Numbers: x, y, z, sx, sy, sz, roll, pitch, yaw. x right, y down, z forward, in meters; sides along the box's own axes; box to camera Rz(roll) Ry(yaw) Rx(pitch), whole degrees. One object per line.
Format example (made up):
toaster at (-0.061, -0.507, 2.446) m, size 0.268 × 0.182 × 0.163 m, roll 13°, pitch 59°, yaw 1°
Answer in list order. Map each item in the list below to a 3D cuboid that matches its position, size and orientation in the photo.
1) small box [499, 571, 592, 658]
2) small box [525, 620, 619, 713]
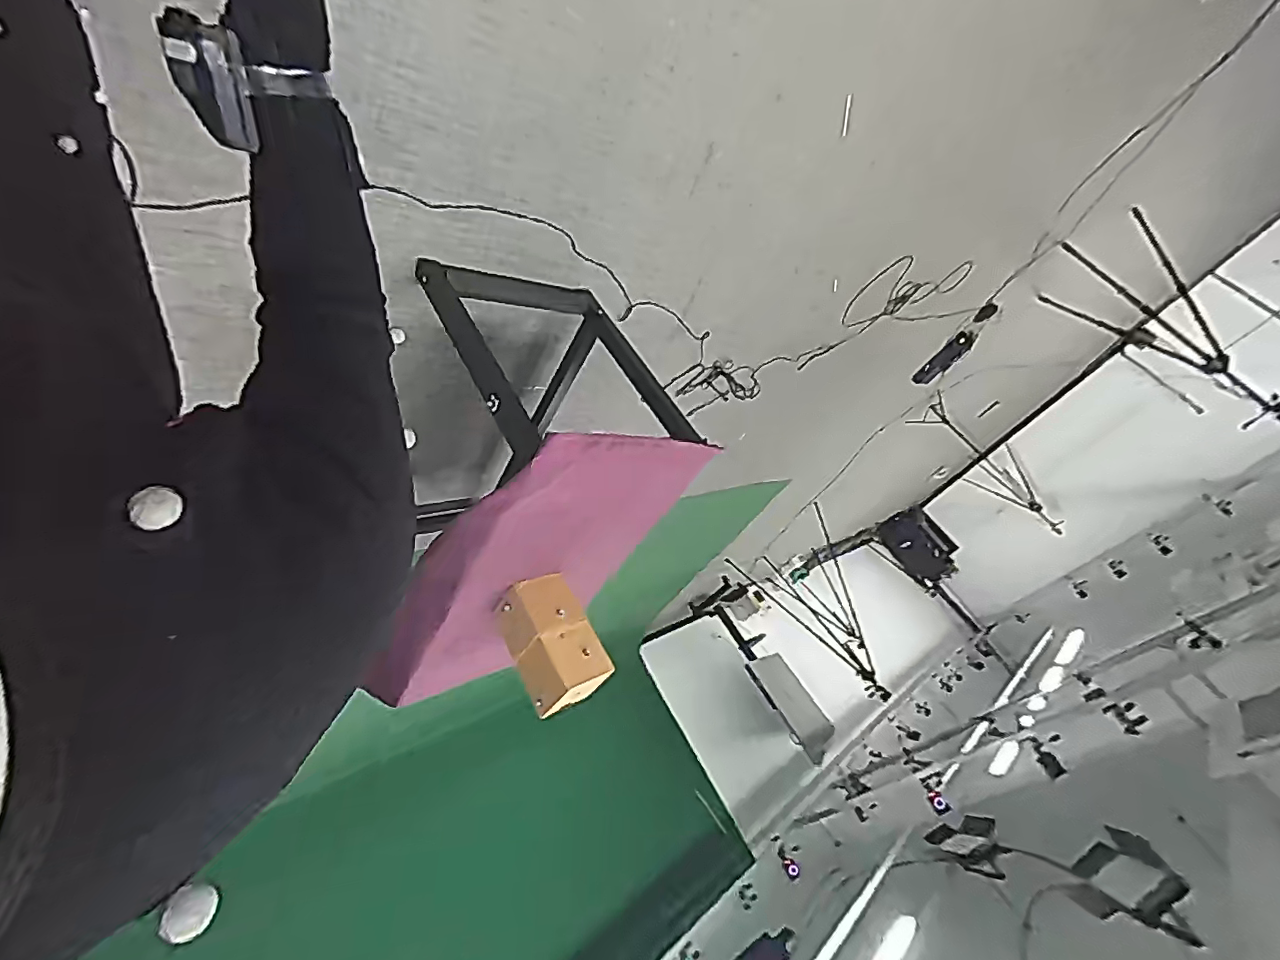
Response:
small box at (-0.276, 0.381, 1.568) m, size 0.179 × 0.176 × 0.168 m, roll -4°, pitch 141°, yaw -47°
small box at (-0.196, 0.507, 1.506) m, size 0.168 × 0.176 × 0.179 m, roll -6°, pitch 143°, yaw -46°
